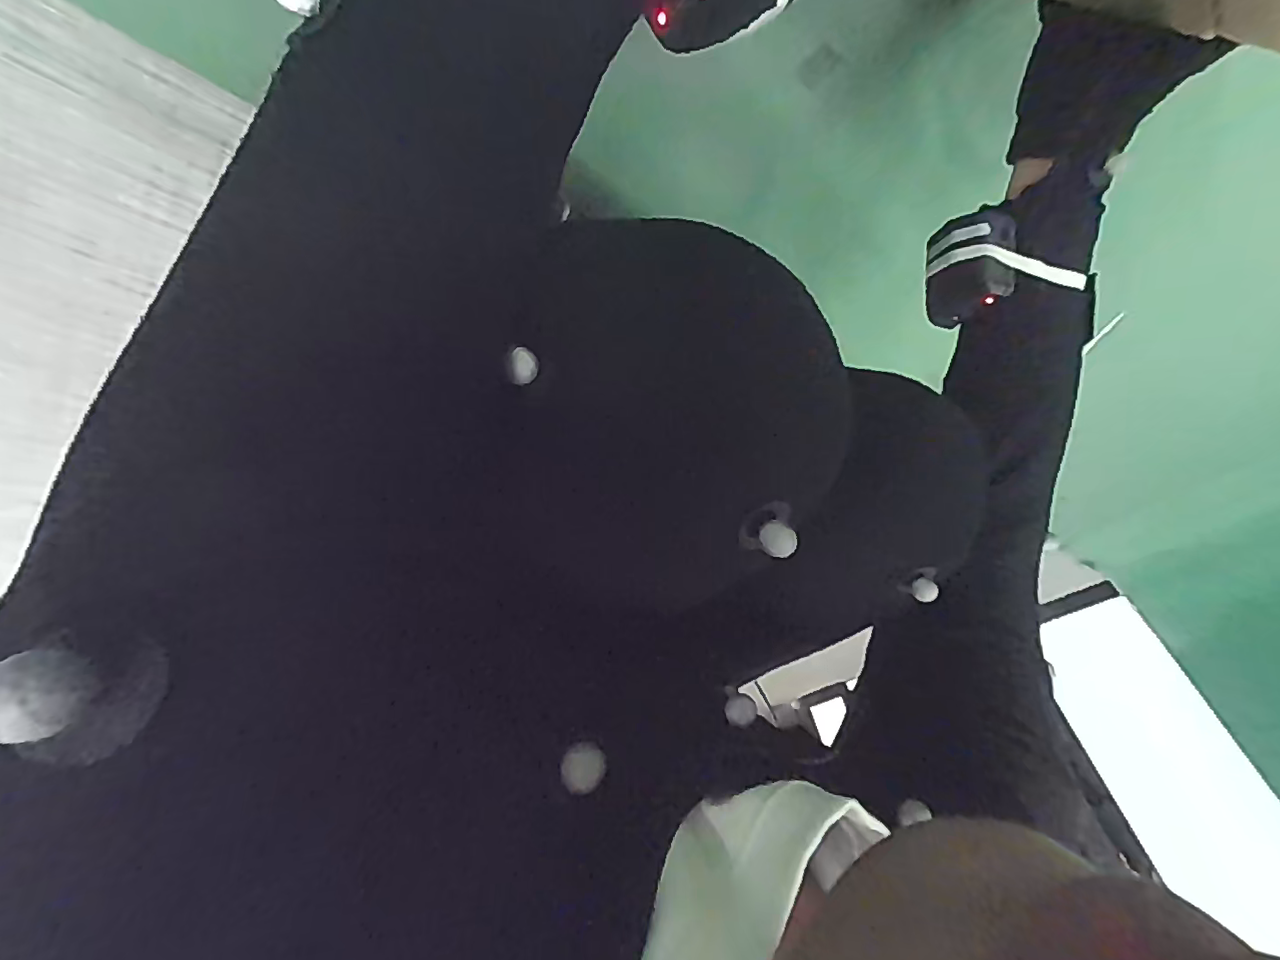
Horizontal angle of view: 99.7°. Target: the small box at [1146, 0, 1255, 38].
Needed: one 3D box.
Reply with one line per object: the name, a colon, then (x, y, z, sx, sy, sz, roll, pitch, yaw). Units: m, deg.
small box: (0.274, -0.364, 0.241, 0.168, 0.176, 0.179, 20, 130, -39)
